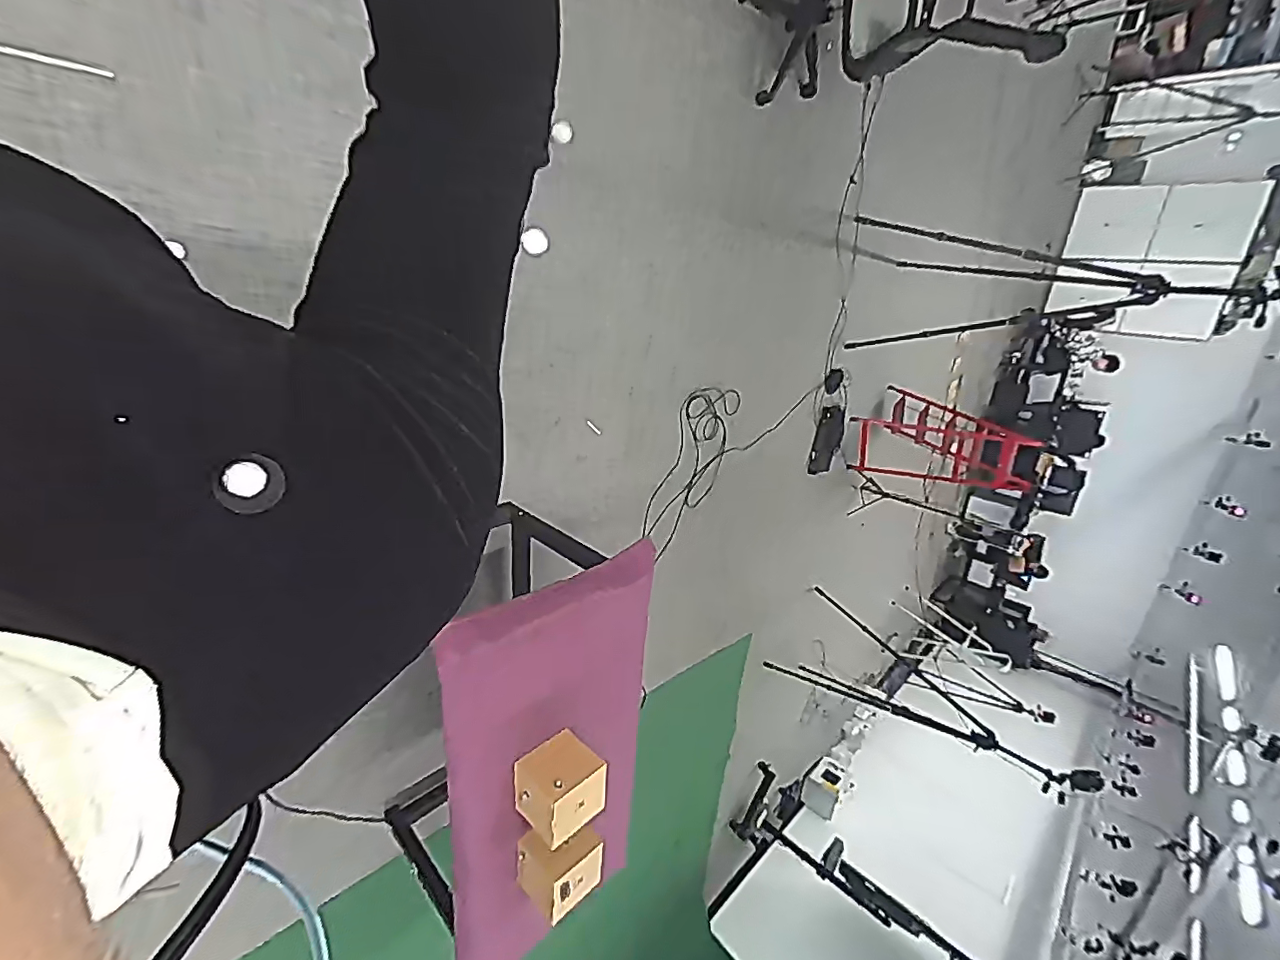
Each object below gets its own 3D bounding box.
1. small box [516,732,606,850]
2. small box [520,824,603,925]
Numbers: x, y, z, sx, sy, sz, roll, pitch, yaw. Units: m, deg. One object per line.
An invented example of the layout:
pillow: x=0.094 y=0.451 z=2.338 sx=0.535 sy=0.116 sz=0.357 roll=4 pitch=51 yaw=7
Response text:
small box: x=-0.211 y=0.814 z=1.439 sx=0.179 sy=0.176 sz=0.168 roll=-17 pitch=119 yaw=-42
small box: x=-0.227 y=1.085 z=1.536 sx=0.179 sy=0.176 sz=0.168 roll=-15 pitch=117 yaw=-45
